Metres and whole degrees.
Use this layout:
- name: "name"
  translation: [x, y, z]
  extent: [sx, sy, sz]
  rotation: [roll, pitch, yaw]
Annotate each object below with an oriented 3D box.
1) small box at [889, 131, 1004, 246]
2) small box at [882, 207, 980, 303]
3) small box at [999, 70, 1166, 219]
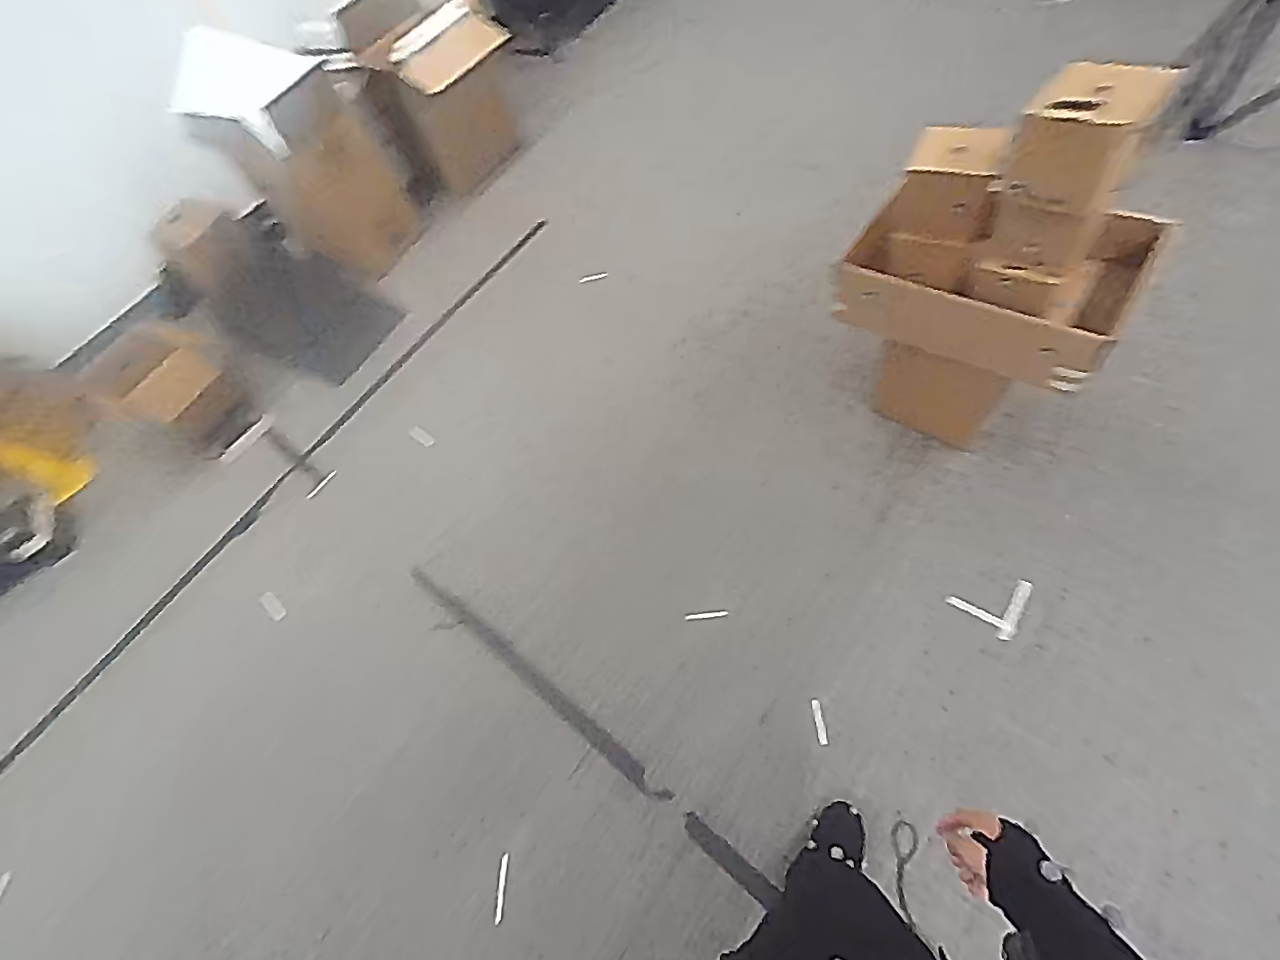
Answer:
- name: "small box"
  translation: [0.710, -0.679, 1.268]
  extent: [0.179, 0.176, 0.168]
  rotation: [21, 68, 24]
- name: "small box"
  translation: [0.747, -0.594, 1.403]
  extent: [0.168, 0.176, 0.179]
  rotation: [22, 69, 25]
- name: "small box"
  translation: [0.809, -0.623, 1.012]
  extent: [0.179, 0.176, 0.168]
  rotation: [-45, 57, -12]
